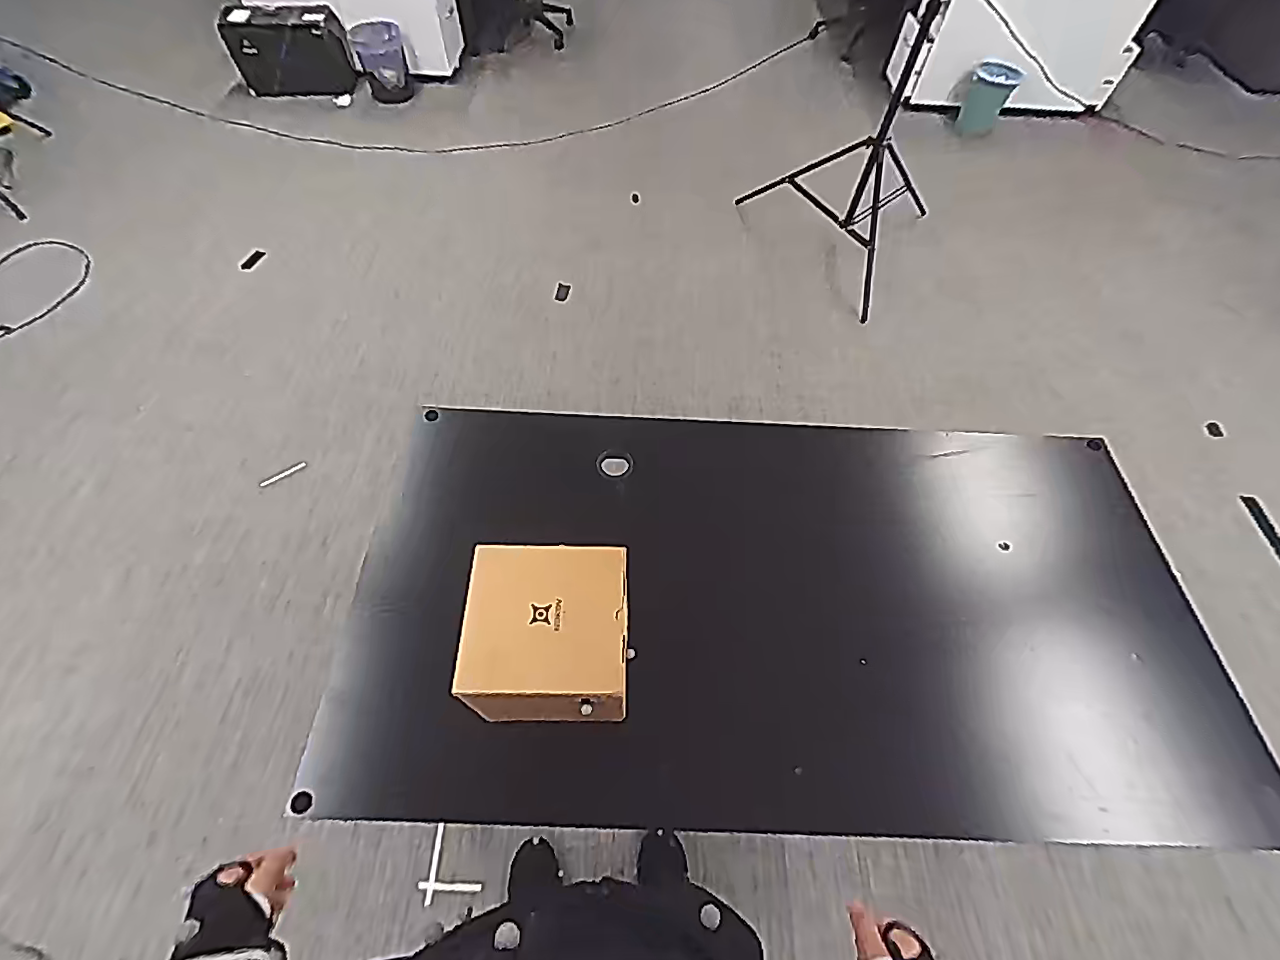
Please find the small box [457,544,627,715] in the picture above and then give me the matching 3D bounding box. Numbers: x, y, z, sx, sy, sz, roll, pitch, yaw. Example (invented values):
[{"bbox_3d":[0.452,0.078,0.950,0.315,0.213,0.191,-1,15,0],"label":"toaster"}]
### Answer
[{"bbox_3d":[-0.105,0.189,0.665,0.179,0.176,0.168,1,58,-3],"label":"small box"}]
